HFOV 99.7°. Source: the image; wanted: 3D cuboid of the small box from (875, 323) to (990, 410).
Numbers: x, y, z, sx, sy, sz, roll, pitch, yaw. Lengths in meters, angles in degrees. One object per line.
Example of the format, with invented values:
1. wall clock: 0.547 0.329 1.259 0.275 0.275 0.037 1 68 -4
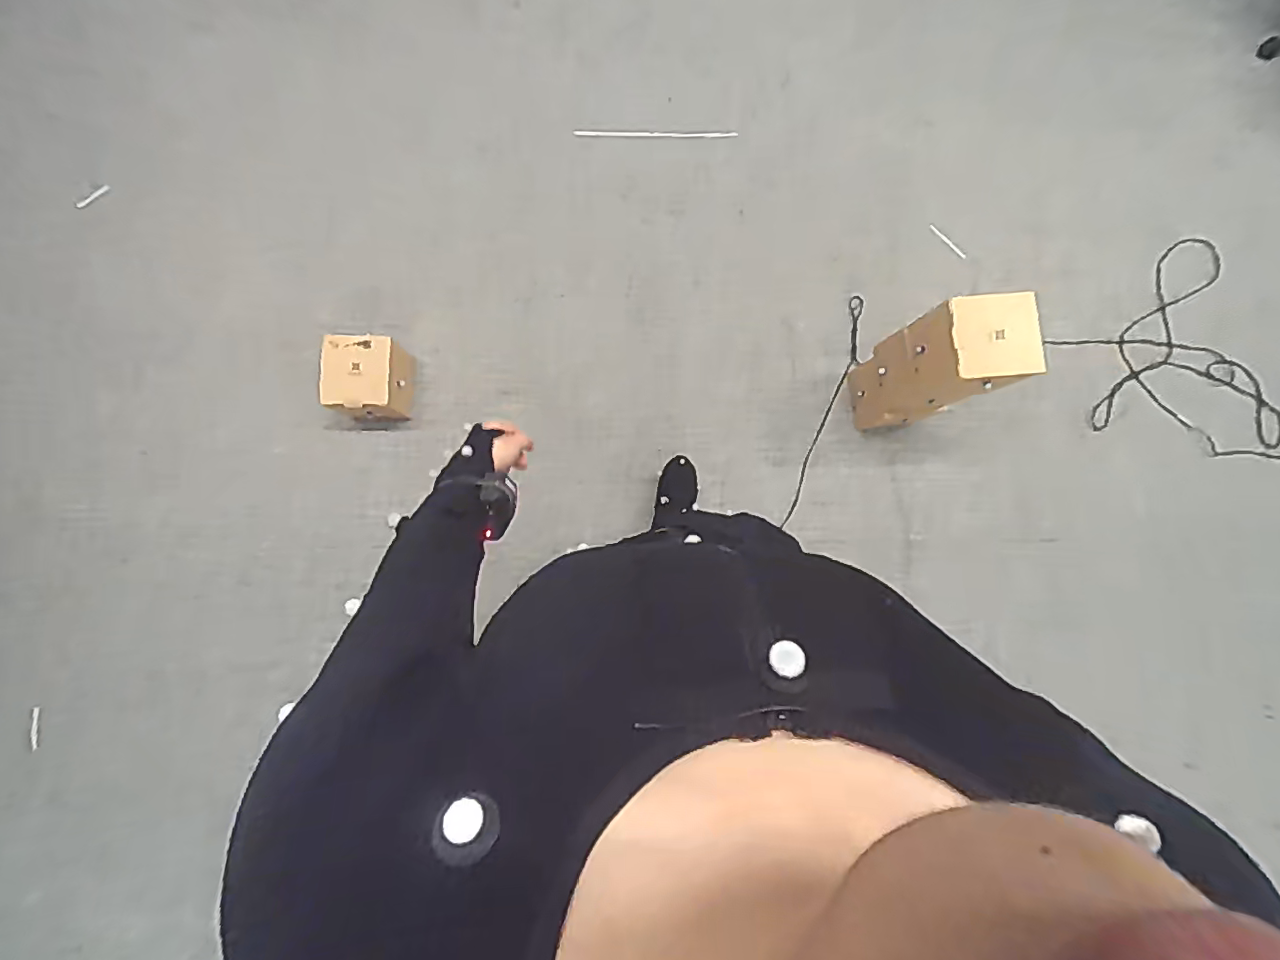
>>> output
1. small box: 0.687 -0.268 1.283 0.179 0.176 0.168 -5 84 -2

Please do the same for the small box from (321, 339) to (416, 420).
1. small box: -0.695 -0.253 1.401 0.168 0.176 0.179 1 85 -2

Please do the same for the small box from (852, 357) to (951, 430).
1. small box: 0.687 -0.236 1.445 0.179 0.176 0.168 -8 86 -3

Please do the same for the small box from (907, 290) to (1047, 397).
1. small box: 0.689 -0.276 1.121 0.179 0.176 0.168 -6 85 -1
